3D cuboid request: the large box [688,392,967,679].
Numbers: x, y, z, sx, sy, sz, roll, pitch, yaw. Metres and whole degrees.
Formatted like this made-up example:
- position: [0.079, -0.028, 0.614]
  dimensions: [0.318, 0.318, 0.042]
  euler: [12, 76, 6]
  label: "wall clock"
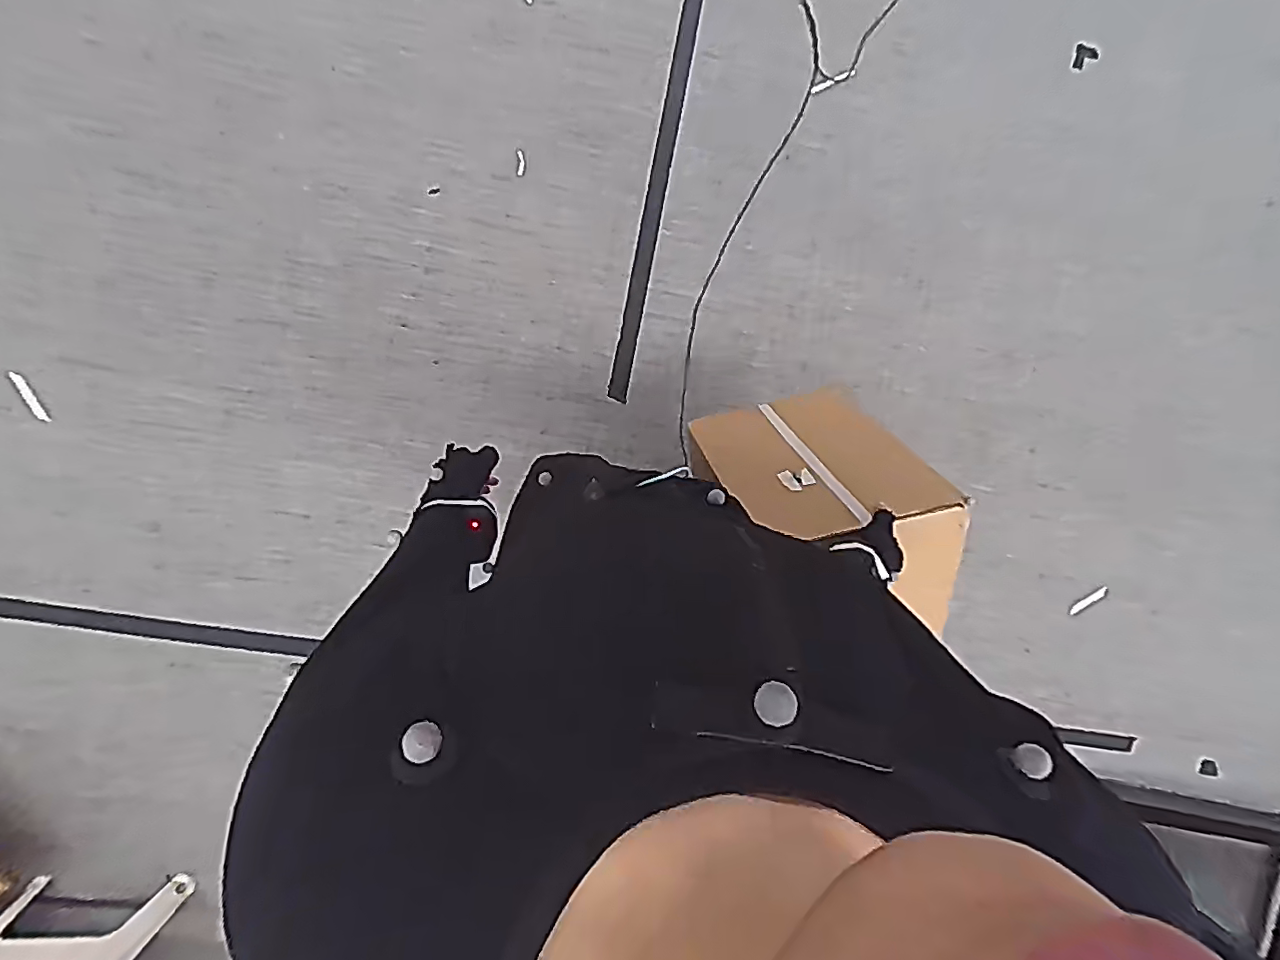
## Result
- position: [0.299, 0.081, 1.002]
  dimensions: [0.320, 0.408, 0.320]
  euler: [-13, 125, -4]
  label: "large box"
